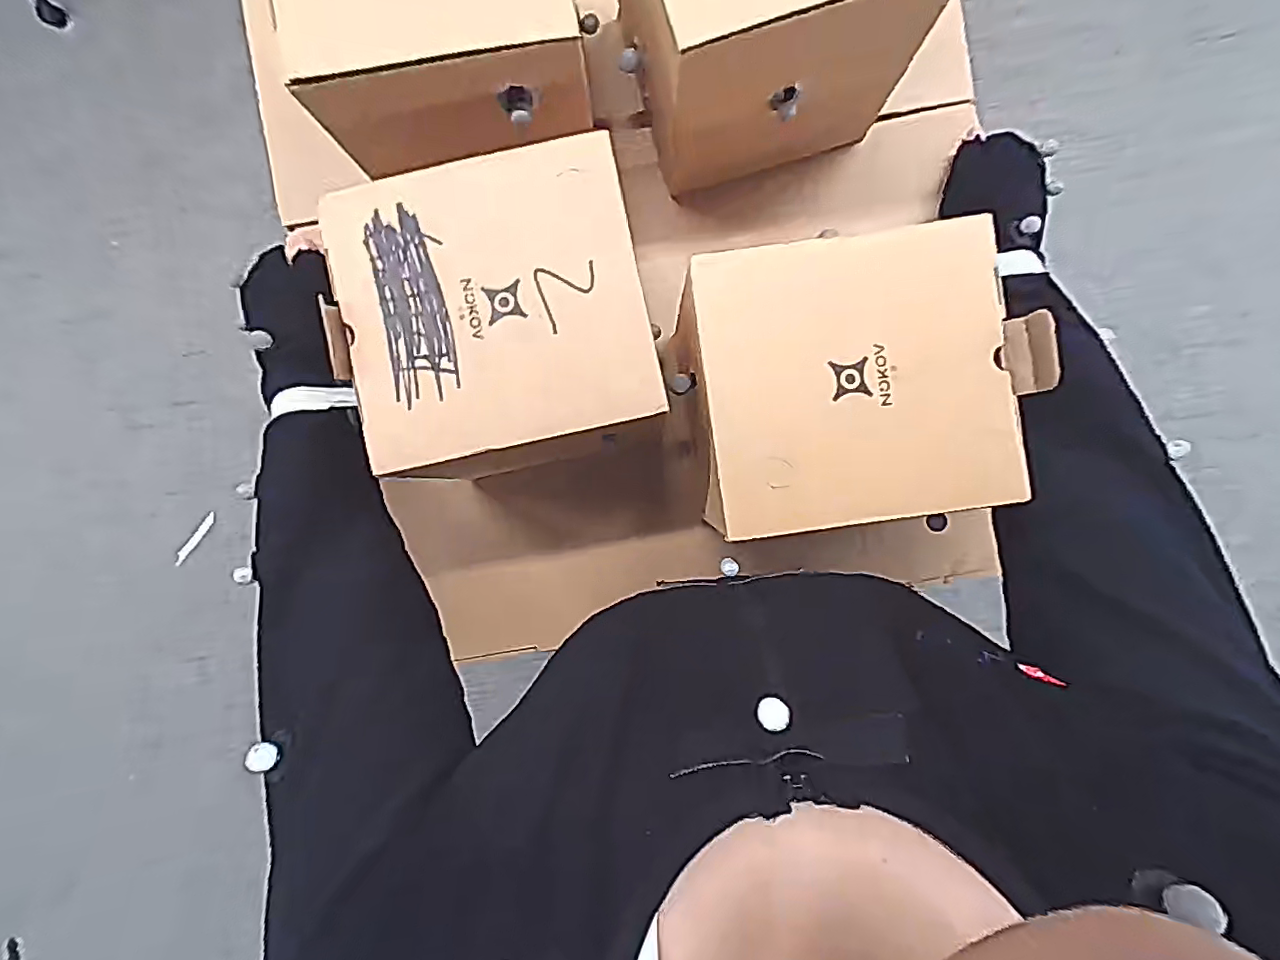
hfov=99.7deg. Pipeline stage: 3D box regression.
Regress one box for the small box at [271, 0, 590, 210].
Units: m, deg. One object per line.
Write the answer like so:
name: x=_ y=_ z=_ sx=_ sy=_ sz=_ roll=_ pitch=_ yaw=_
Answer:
small box: x=-0.135 y=-0.327 z=0.396 sx=0.179 sy=0.176 sz=0.168 roll=-9 pitch=90 yaw=2
